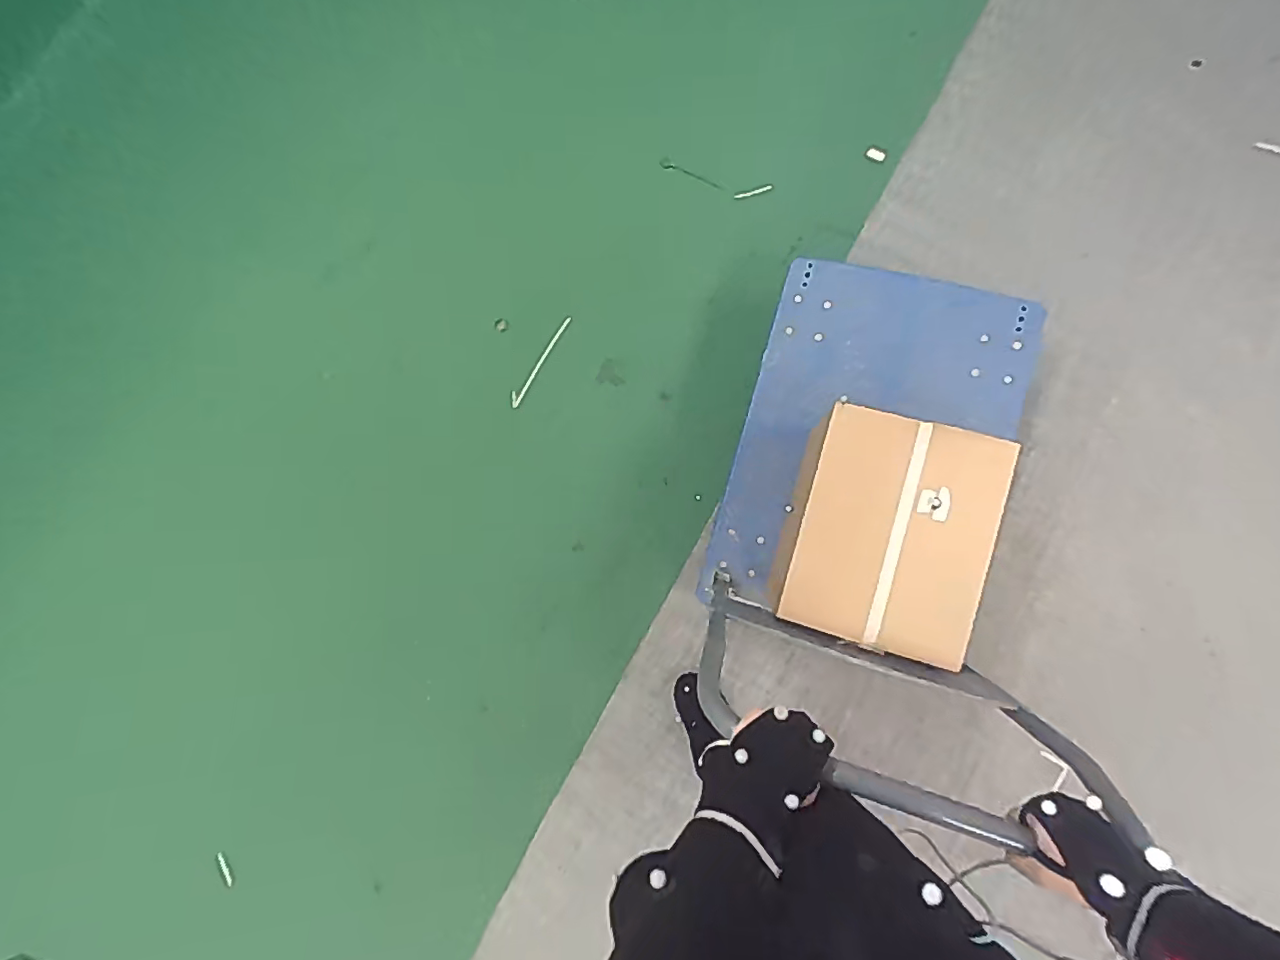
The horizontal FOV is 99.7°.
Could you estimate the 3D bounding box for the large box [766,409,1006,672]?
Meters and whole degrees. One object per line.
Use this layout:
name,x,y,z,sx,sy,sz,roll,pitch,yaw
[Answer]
large box,0.460,0.112,1.093,0.320,0.320,0.408,16,88,9
